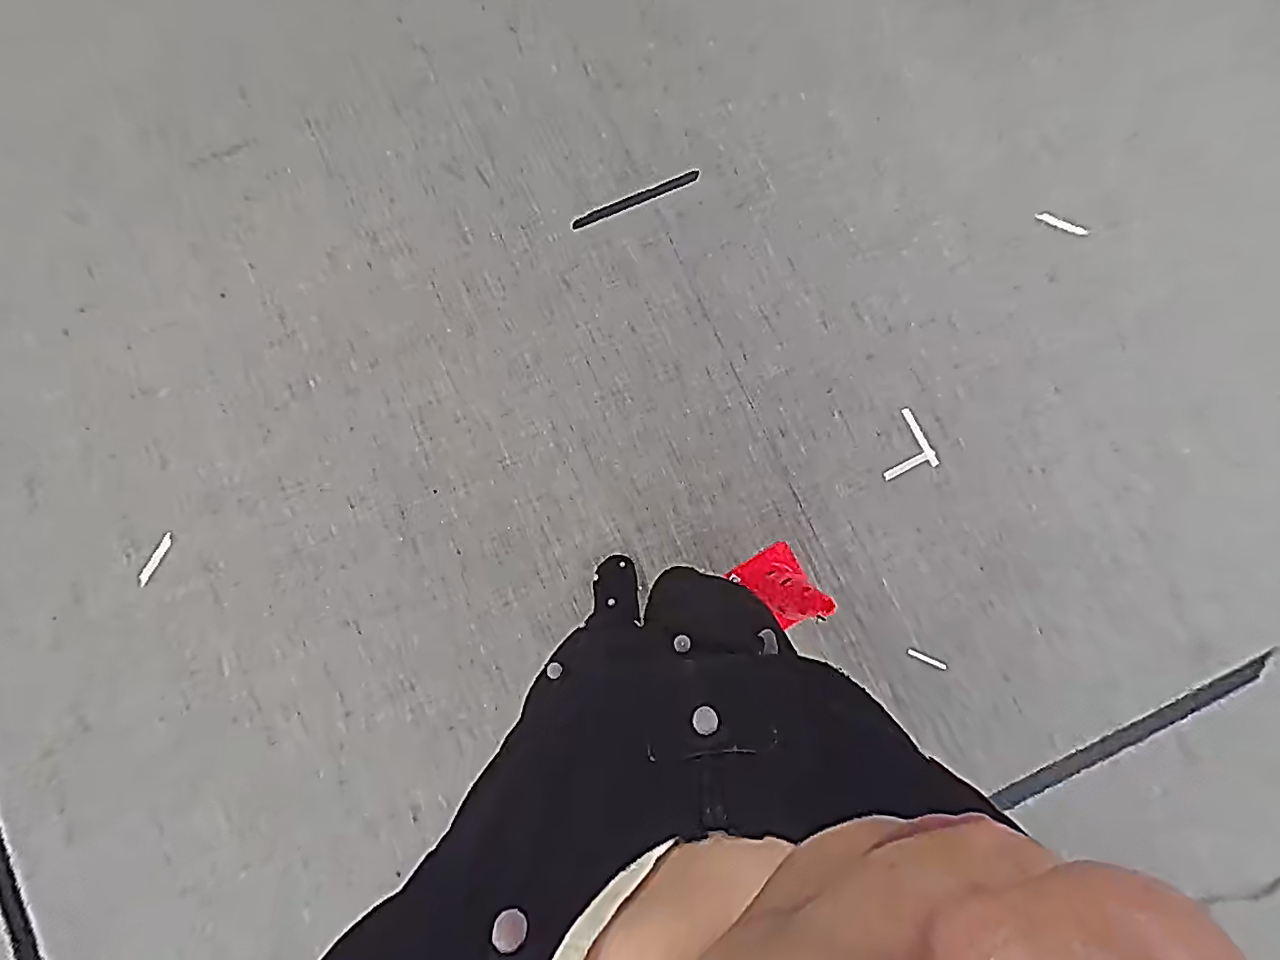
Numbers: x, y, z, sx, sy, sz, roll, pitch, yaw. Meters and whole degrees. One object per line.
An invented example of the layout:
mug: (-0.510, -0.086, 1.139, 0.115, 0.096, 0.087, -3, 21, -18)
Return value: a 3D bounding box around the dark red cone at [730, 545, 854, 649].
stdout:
dark red cone: (0.356, 0.269, 1.175, 0.202, 0.394, 0.201, -31, 87, -6)
